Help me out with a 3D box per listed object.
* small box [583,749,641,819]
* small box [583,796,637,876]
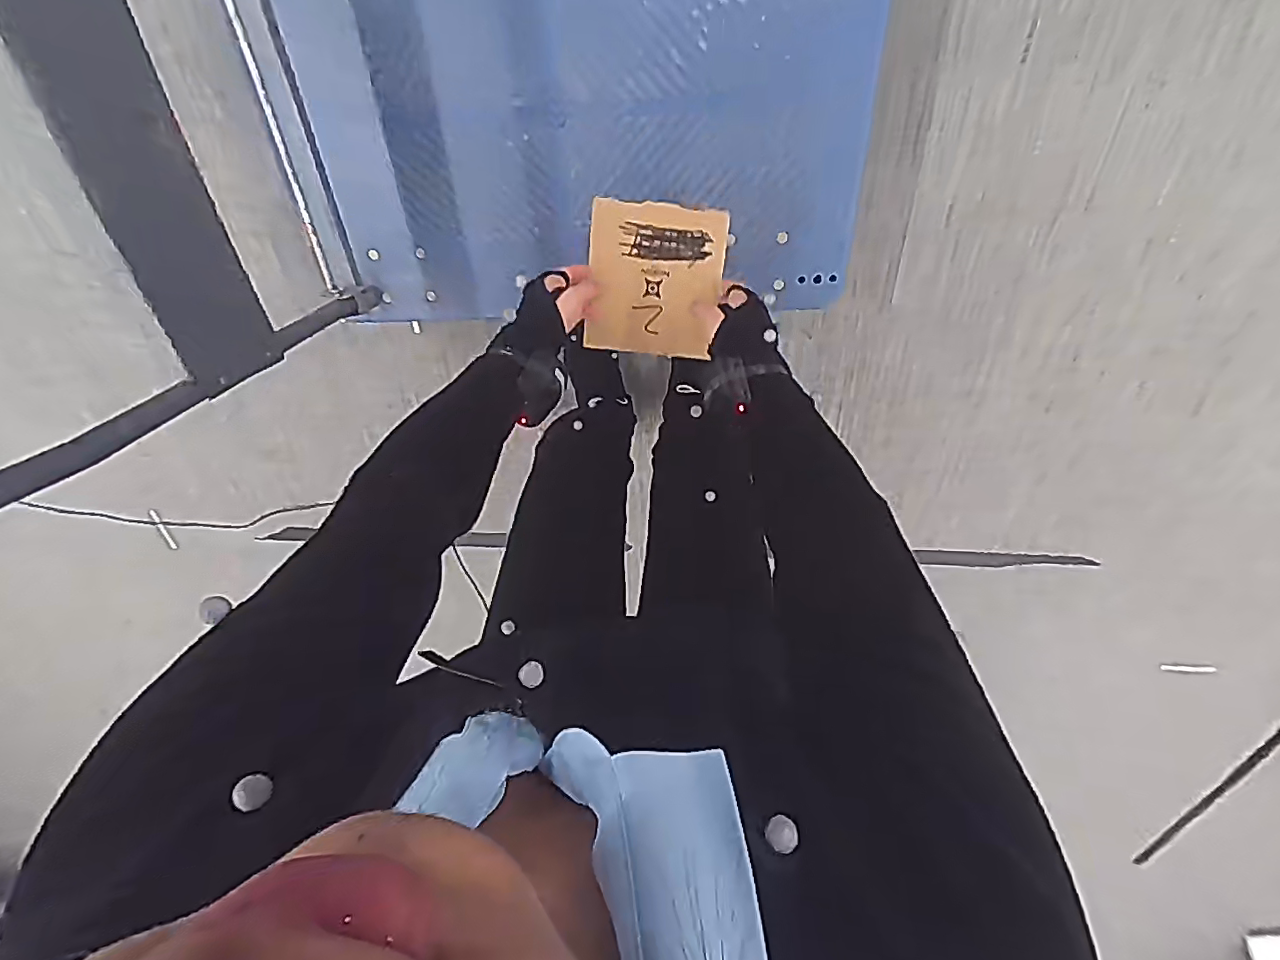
[{"bbox_3d":[-0.094,1.102,1.955,0.168,0.176,0.179,-9,122,9],"label":"small box"},{"bbox_3d":[-0.096,1.198,1.822,0.168,0.176,0.179,1,123,3],"label":"small box"}]
